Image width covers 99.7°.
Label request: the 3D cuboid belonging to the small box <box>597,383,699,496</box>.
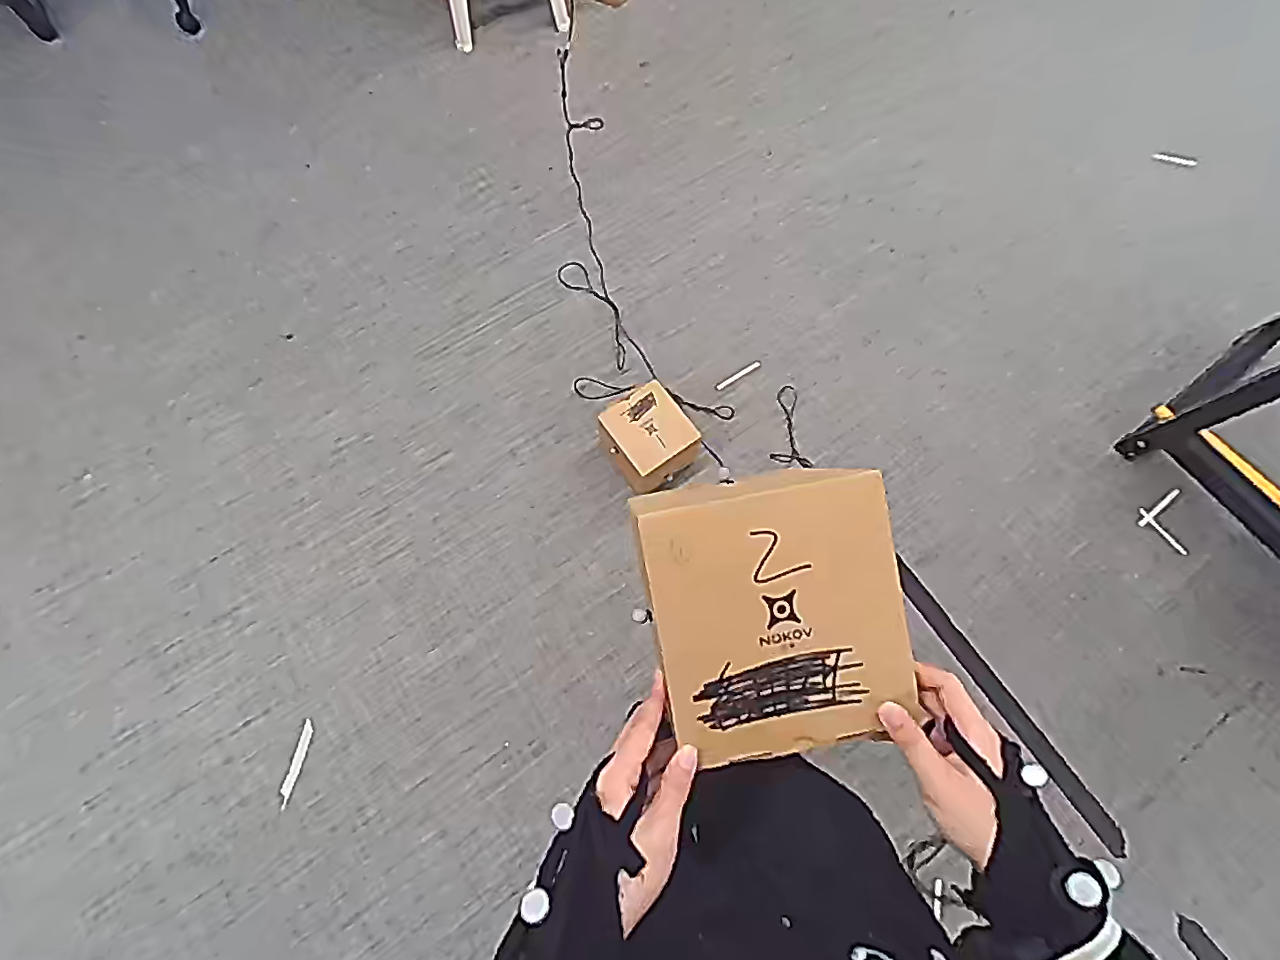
[{"bbox_3d":[0.014,-0.089,1.267,0.168,0.176,0.179,-34,77,-12],"label":"small box"}]
